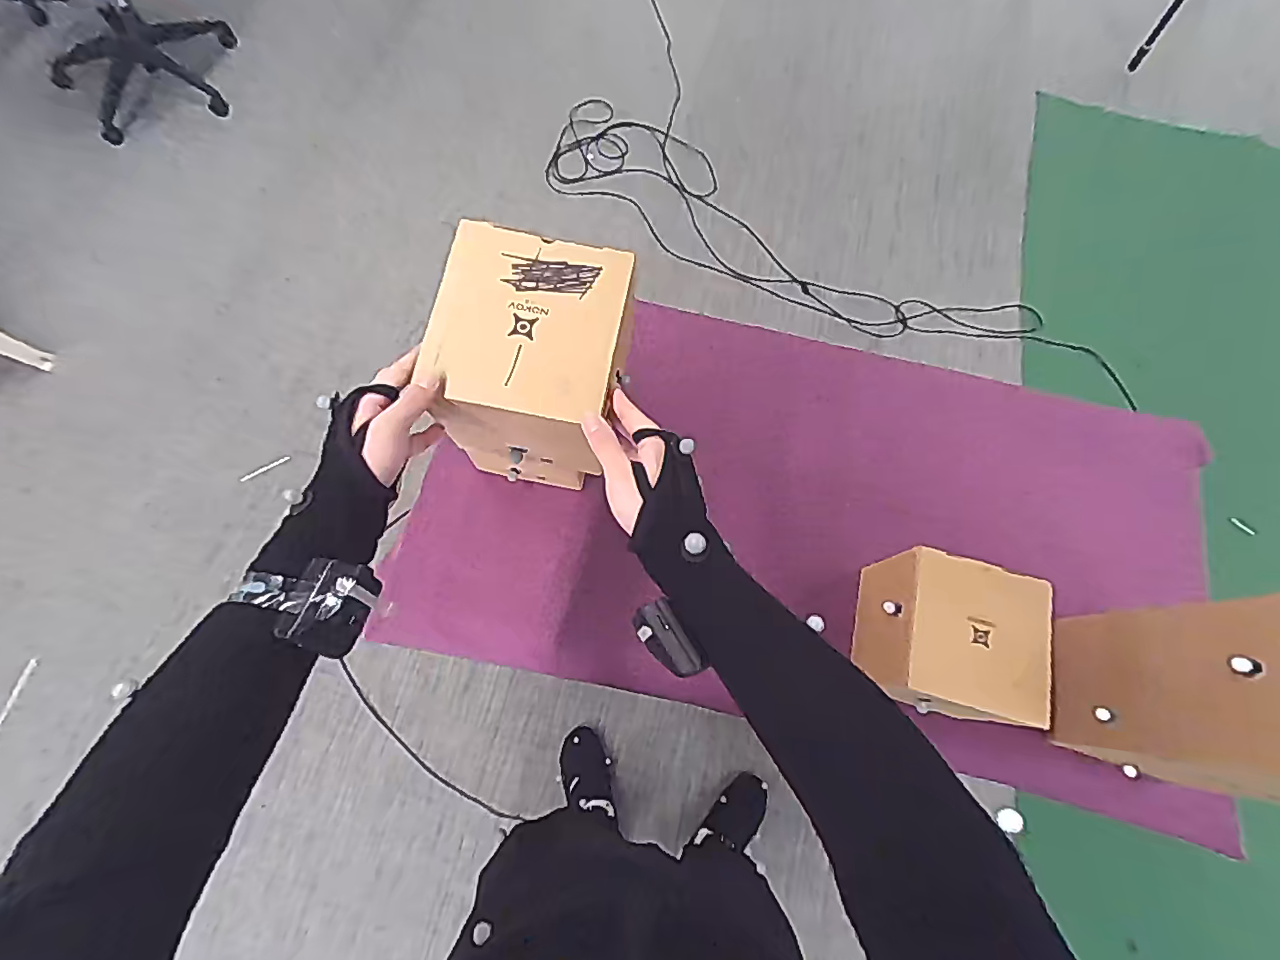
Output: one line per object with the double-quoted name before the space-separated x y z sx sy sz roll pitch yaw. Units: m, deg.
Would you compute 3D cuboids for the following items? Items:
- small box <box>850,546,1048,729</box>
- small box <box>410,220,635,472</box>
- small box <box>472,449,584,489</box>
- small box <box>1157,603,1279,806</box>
"small box" 0.395 0.209 0.713 0.168 0.176 0.179 16 69 3
"small box" -0.105 -0.123 0.555 0.168 0.176 0.179 11 77 0
"small box" -0.153 -0.105 0.795 0.168 0.176 0.179 11 71 1
"small box" 0.675 0.230 0.542 0.168 0.176 0.179 17 70 5
